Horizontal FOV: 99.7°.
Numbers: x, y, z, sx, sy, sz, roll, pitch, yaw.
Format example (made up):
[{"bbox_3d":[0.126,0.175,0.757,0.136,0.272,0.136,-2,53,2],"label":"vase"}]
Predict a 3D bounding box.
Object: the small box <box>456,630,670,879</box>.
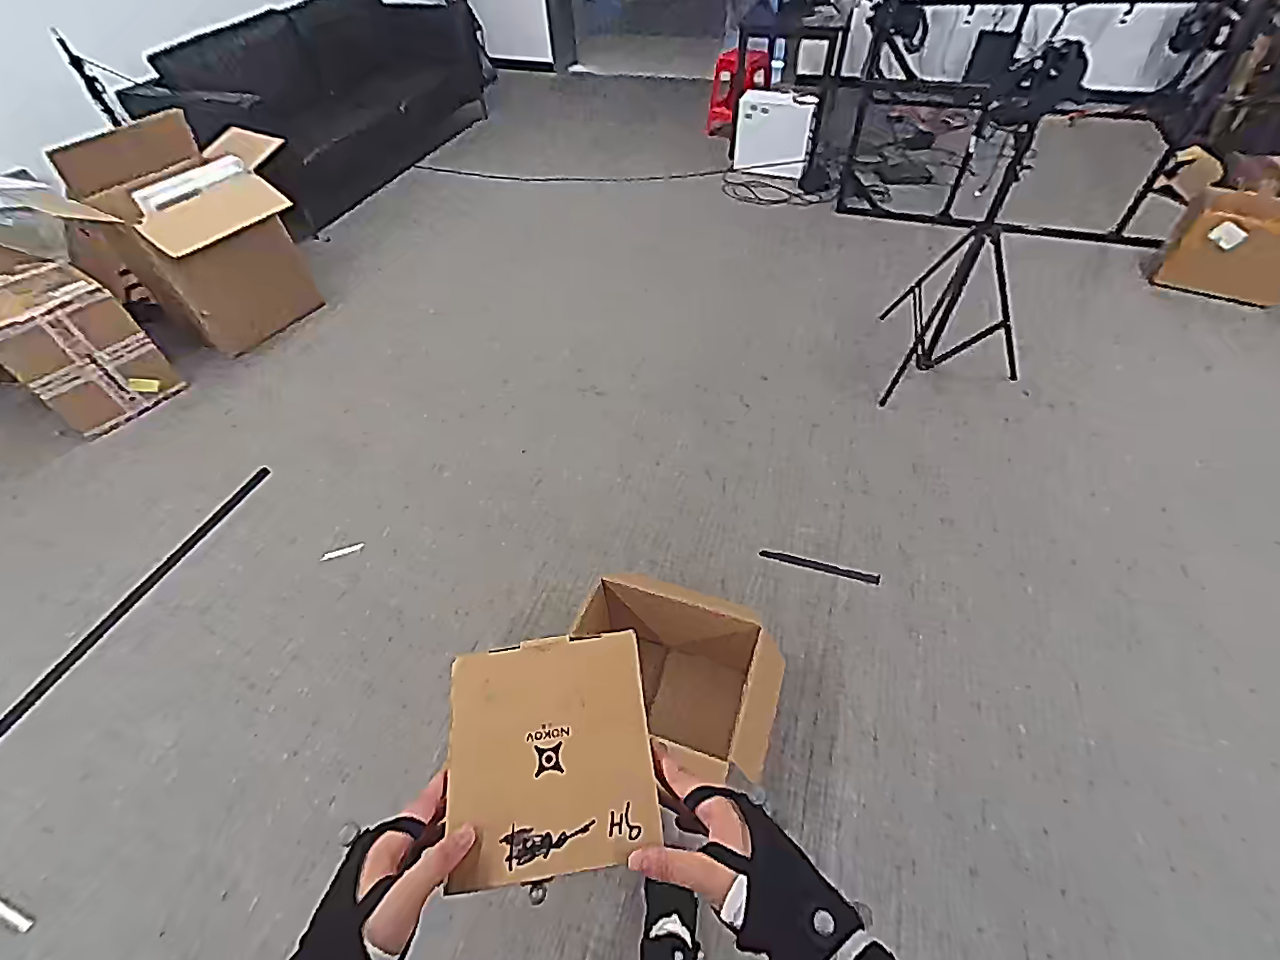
[{"bbox_3d":[-0.067,0.265,0.524,0.168,0.176,0.179,-7,58,-3],"label":"small box"}]
